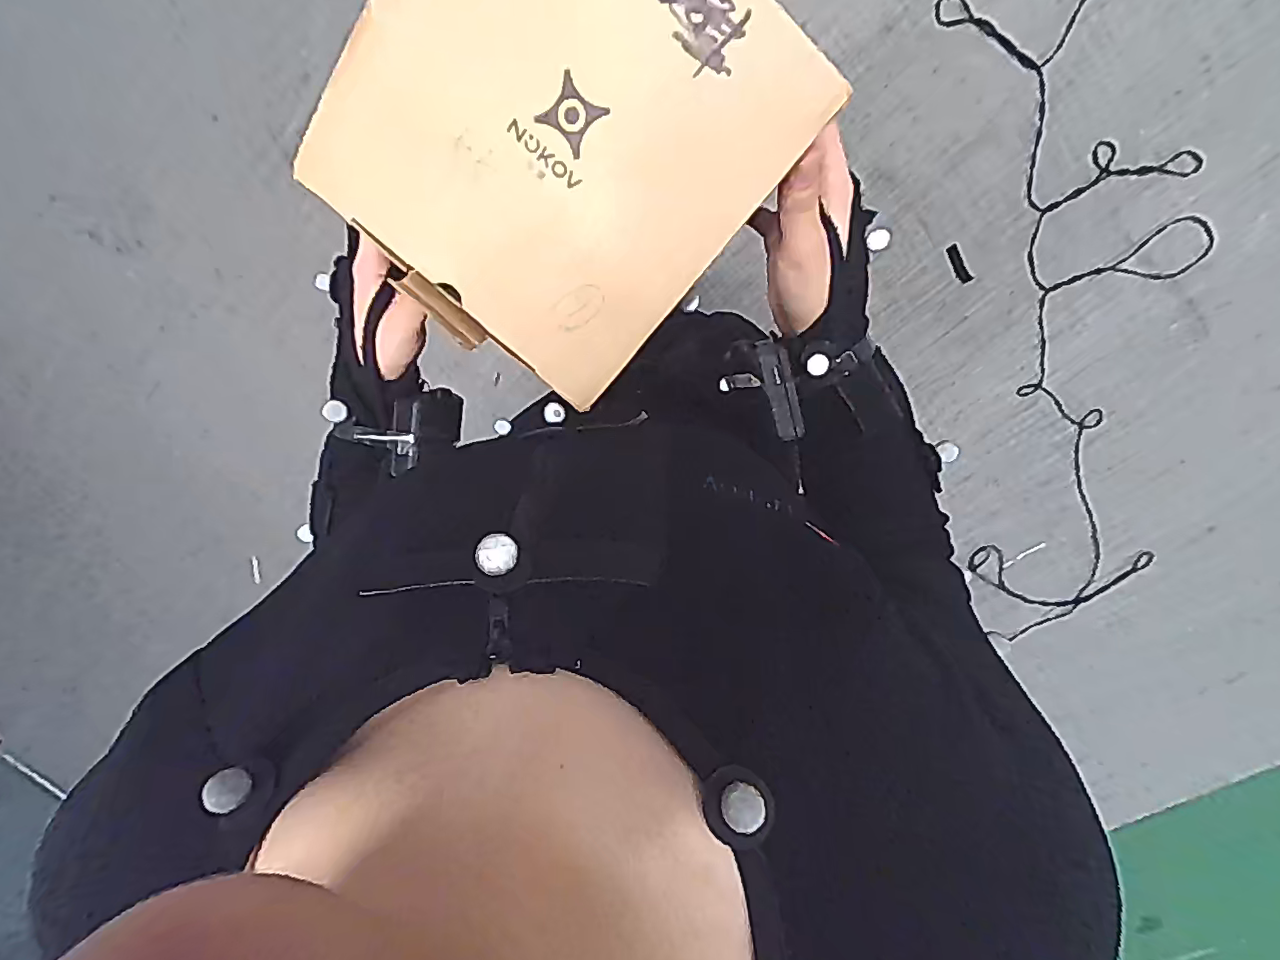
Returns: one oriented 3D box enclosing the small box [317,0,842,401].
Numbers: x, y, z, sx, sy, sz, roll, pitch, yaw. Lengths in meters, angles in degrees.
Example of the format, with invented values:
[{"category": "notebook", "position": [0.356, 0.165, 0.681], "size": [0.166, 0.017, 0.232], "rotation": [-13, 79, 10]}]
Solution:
[{"category": "small box", "position": [-0.025, -0.178, 0.304], "size": [0.168, 0.176, 0.179], "rotation": [39, 111, -13]}]
